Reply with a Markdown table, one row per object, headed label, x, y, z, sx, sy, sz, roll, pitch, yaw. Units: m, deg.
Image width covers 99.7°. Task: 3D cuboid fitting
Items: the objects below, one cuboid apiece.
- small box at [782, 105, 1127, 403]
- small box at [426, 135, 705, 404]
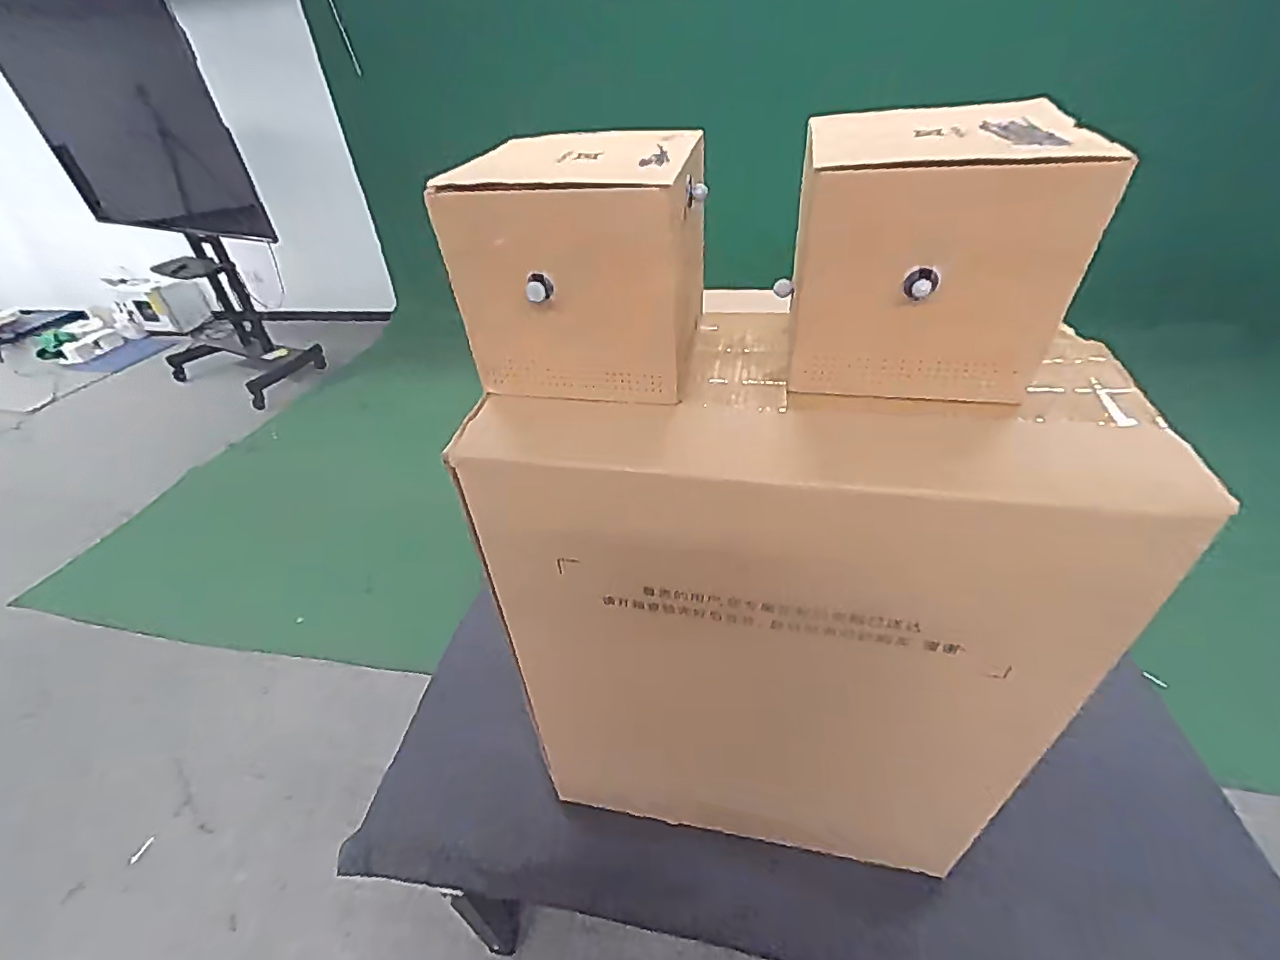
| label | x | y | z | sx | sy | sz | roll | pitch | yaw |
| --- | --- | --- | --- | --- | --- | --- | --- | --- | --- |
| small box | 0.213 | -0.175 | 0.427 | 0.179 | 0.176 | 0.168 | 5 | 44 | 13 |
| small box | -0.042 | -0.179 | 0.466 | 0.179 | 0.176 | 0.168 | 5 | 43 | 12 |
